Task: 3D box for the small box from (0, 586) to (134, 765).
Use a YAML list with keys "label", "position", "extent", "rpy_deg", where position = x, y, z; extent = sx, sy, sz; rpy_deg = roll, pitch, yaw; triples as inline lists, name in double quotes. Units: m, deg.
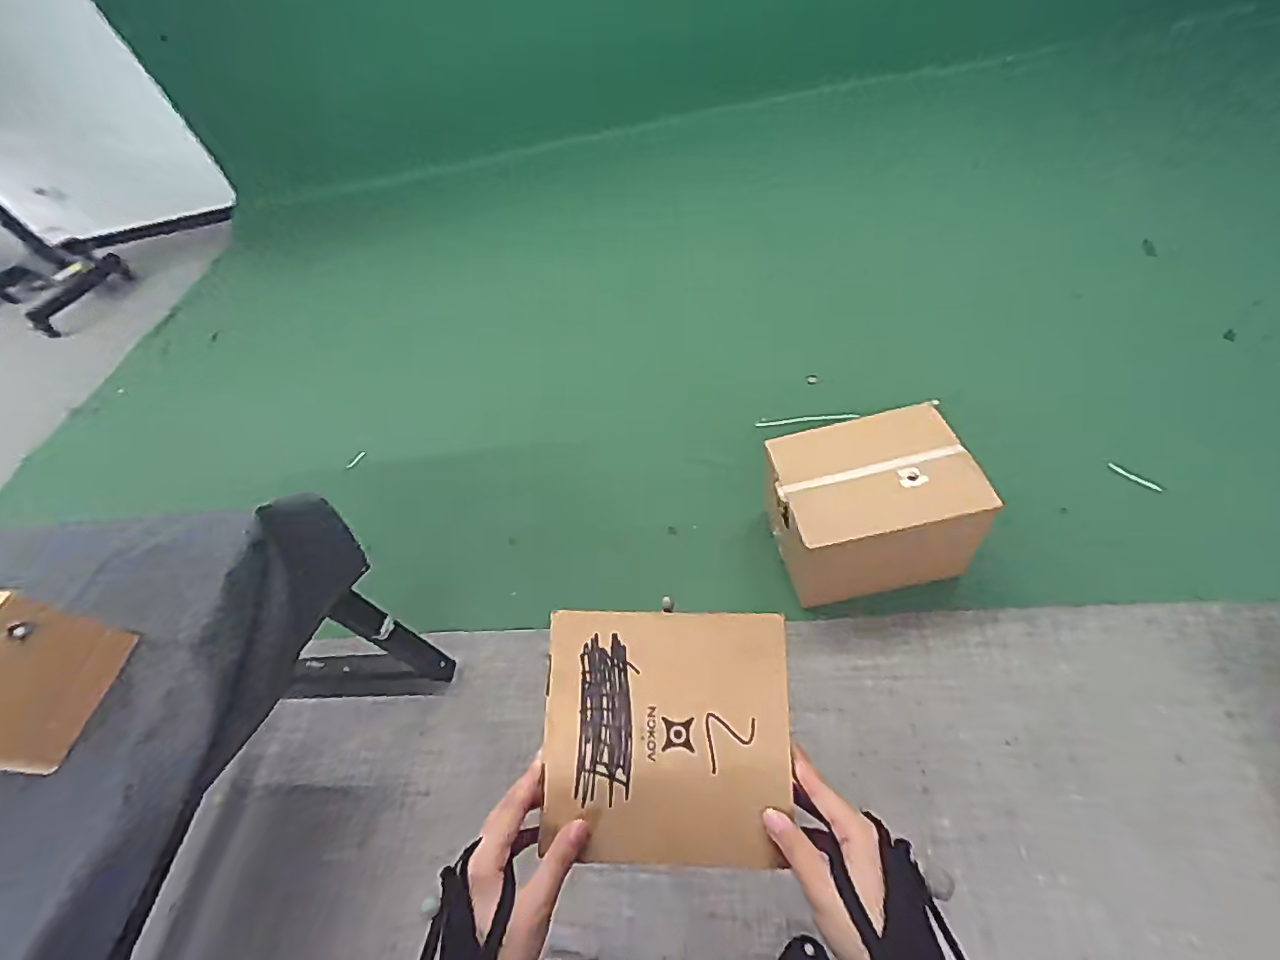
- label: "small box"
  position: [-0.810, 0.248, 0.678]
  extent: [0.168, 0.176, 0.179]
  rpy_deg: [-4, 53, 12]
